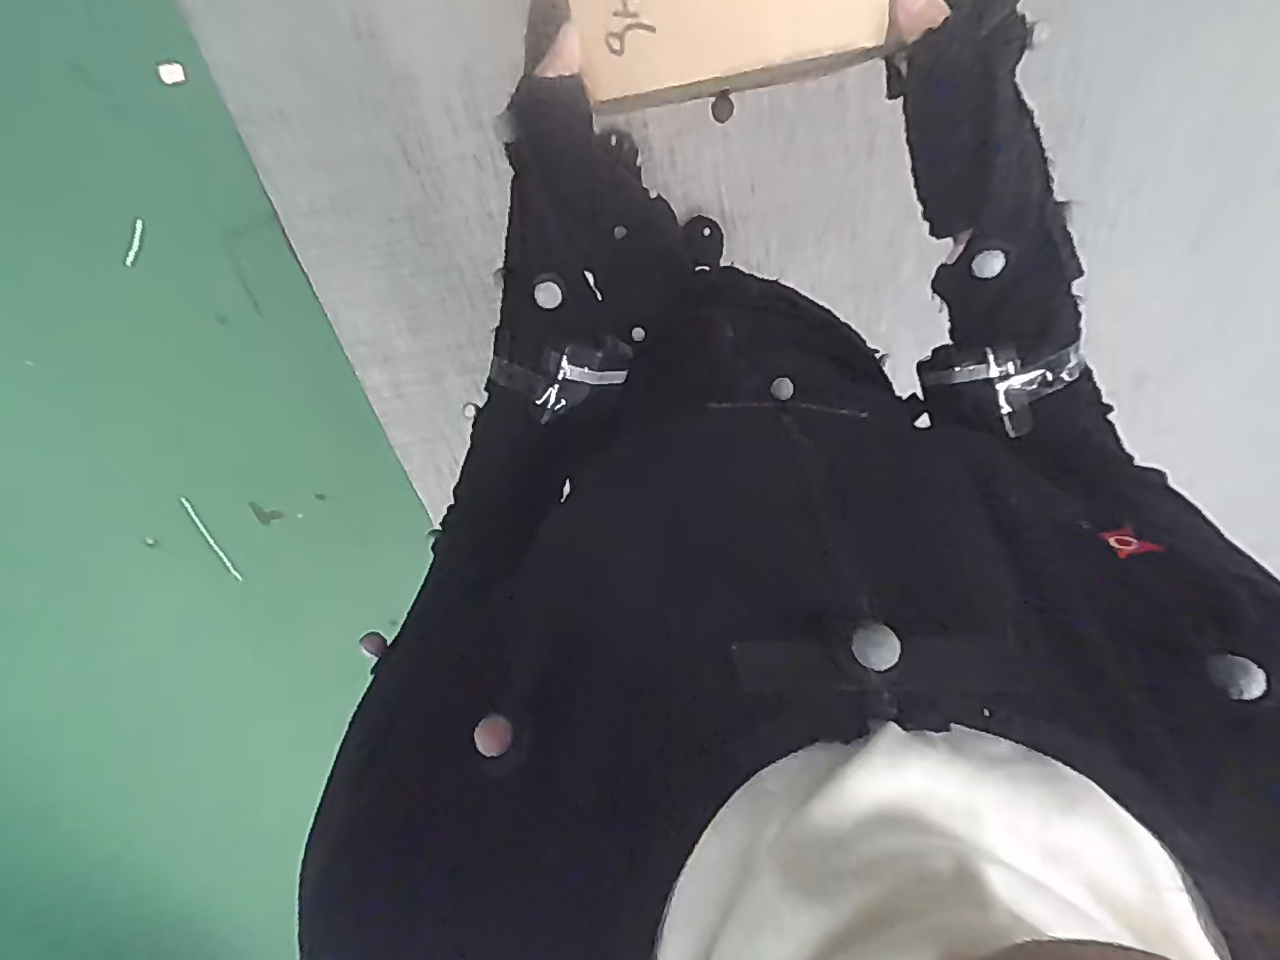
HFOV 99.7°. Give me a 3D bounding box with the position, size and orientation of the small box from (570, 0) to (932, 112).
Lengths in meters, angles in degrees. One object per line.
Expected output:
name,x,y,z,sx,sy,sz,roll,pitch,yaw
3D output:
small box,0.043,-0.318,0.298,0.179,0.176,0.168,-9,120,3
